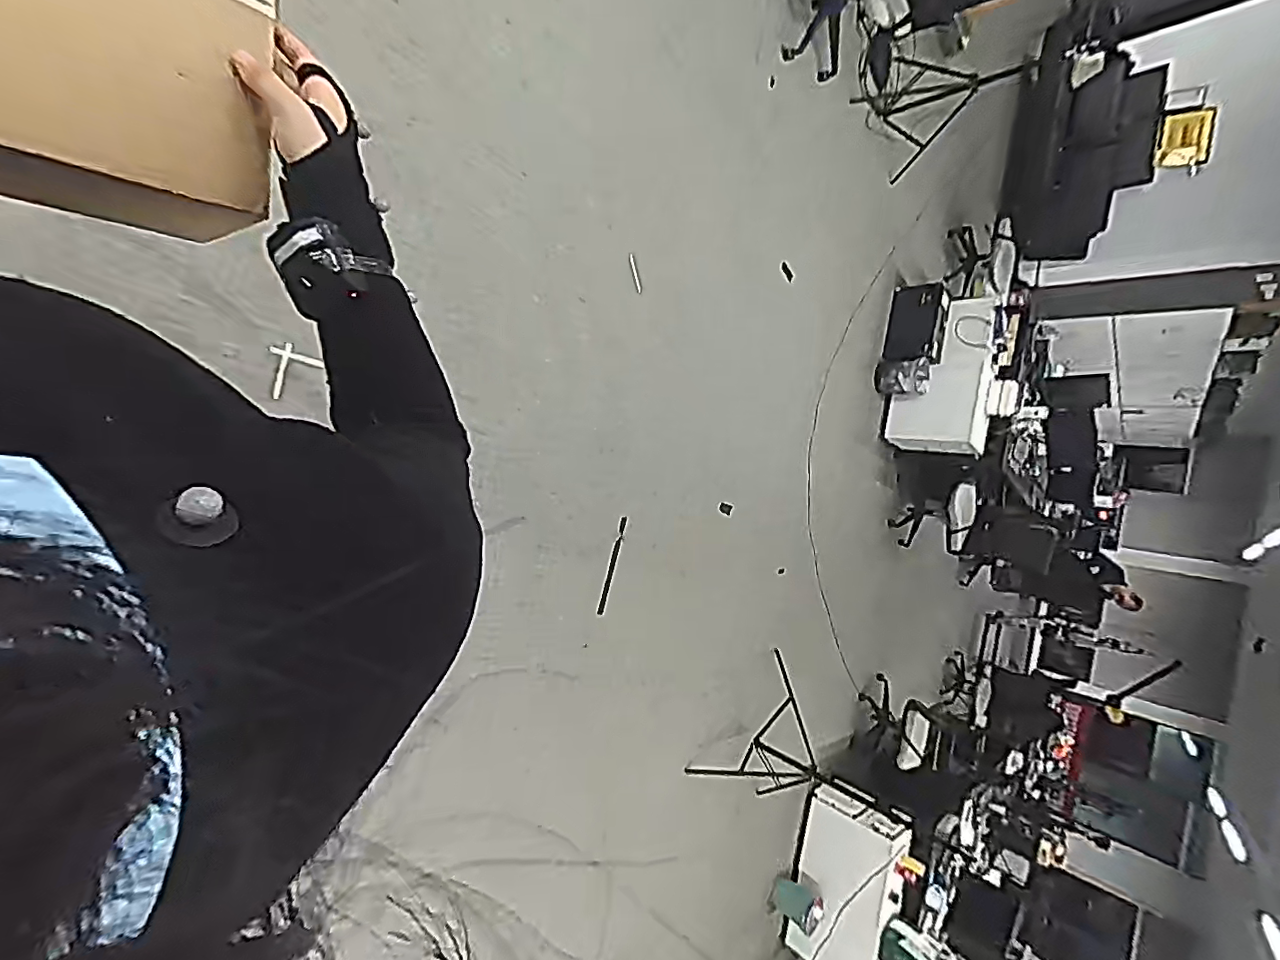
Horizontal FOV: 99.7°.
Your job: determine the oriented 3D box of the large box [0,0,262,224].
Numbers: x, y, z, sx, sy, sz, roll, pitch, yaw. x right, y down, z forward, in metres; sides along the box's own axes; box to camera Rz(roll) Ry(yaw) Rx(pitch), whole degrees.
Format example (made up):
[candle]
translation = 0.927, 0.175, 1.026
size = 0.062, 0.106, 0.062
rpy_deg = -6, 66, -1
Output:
[large box]
translation = -0.542, -0.407, 0.385
size = 0.408, 0.320, 0.320
rpy_deg = -3, 104, -47
